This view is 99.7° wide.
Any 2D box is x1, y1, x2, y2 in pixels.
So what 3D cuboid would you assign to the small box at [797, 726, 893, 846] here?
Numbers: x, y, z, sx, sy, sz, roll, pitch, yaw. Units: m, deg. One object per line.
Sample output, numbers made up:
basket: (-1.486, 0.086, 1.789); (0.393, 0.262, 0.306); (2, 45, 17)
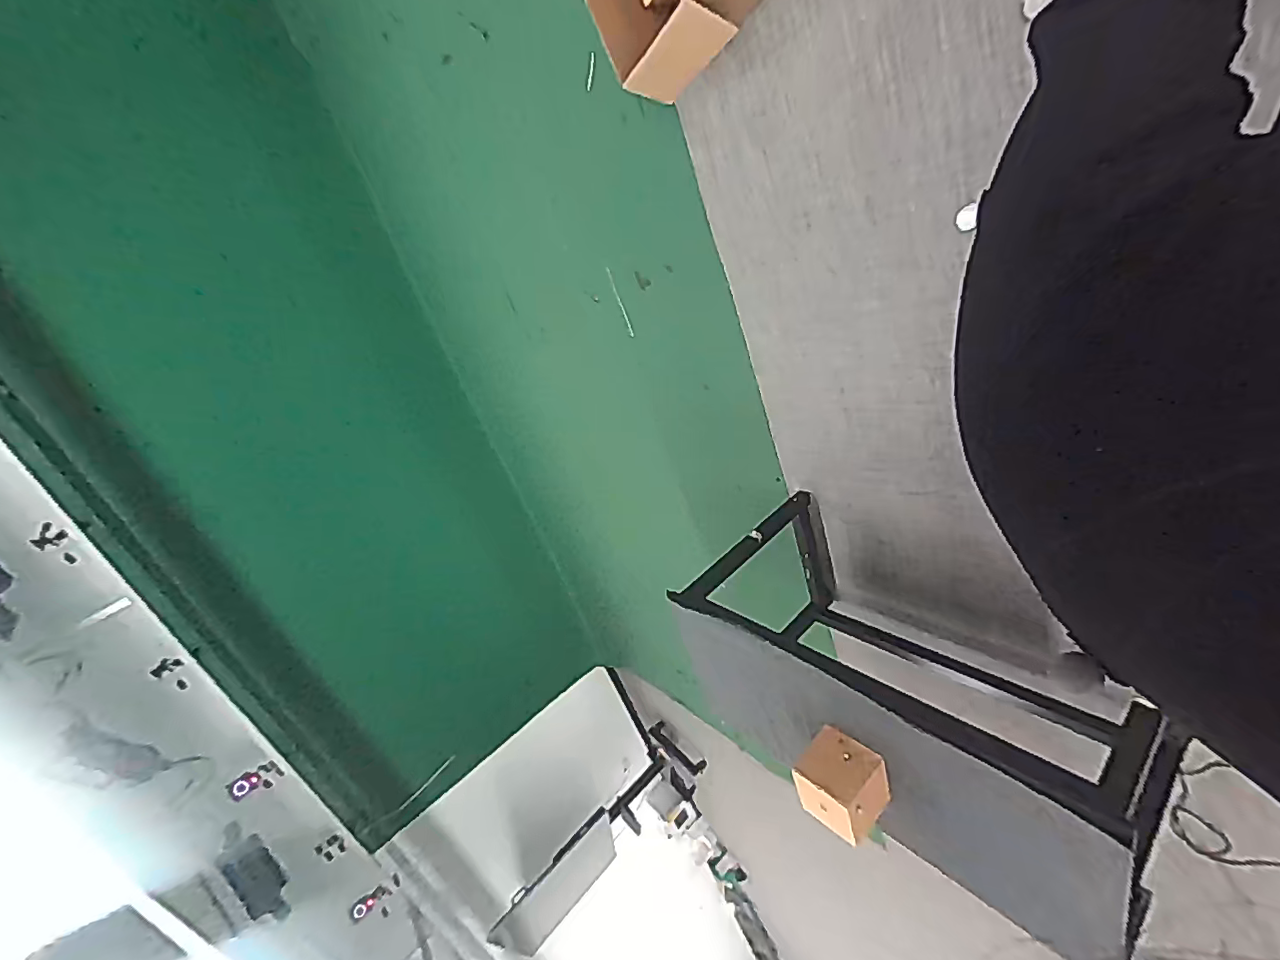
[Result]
small box: (0.542, 0.794, 1.418); (0.168, 0.176, 0.179); (16, 132, 52)
